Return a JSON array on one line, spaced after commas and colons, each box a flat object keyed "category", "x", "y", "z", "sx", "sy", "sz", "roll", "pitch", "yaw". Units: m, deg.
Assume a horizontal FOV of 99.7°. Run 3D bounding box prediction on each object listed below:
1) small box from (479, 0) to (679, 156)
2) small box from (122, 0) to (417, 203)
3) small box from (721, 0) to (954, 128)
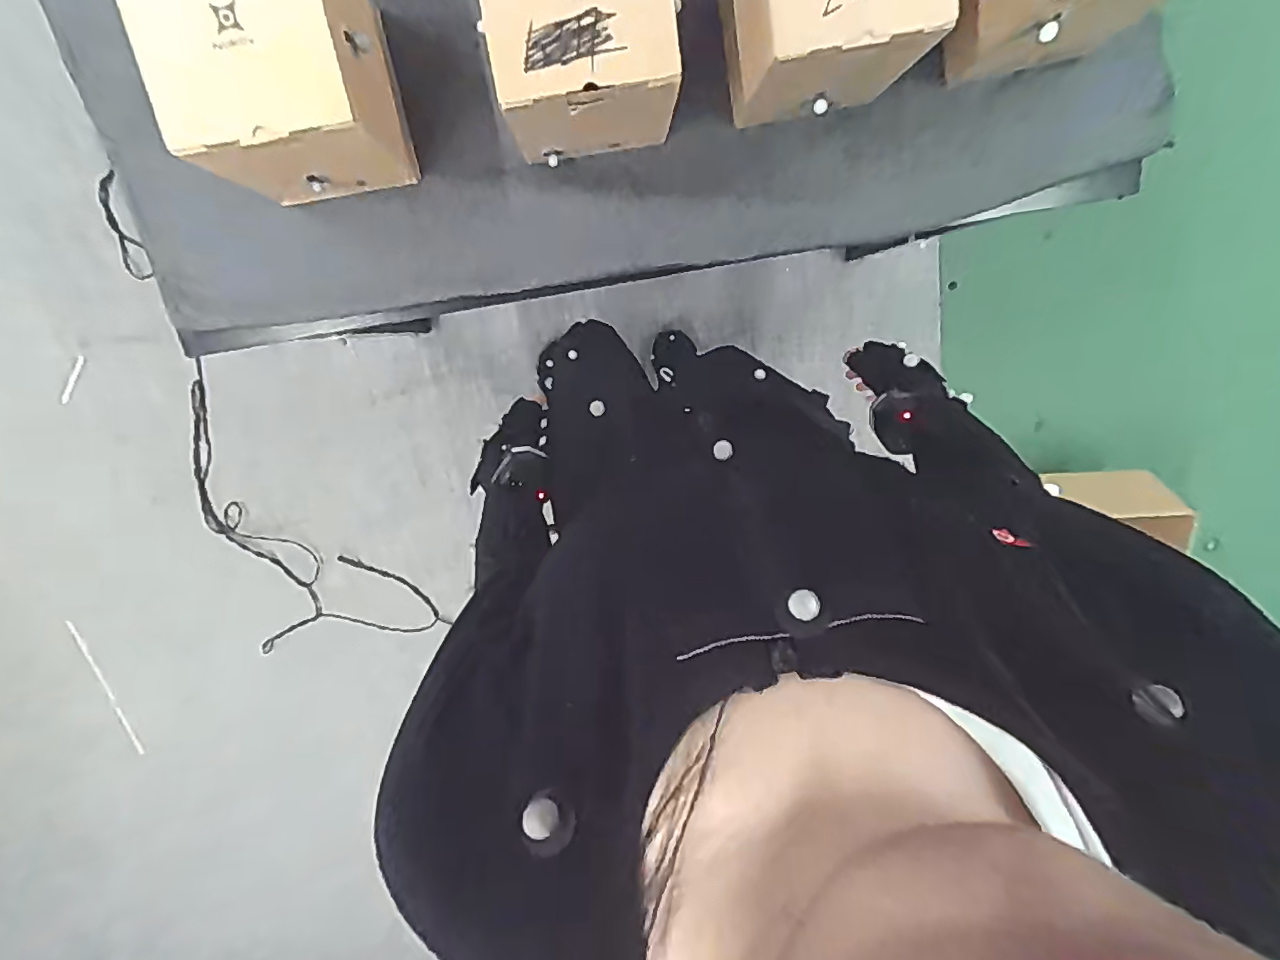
[{"category": "small box", "x": -0.059, "y": -0.442, "z": 0.531, "sx": 0.168, "sy": 0.176, "sz": 0.179, "roll": -9, "pitch": 104, "yaw": -1}, {"category": "small box", "x": -0.344, "y": -0.397, "z": 0.528, "sx": 0.168, "sy": 0.176, "sz": 0.179, "roll": -11, "pitch": 104, "yaw": -1}, {"category": "small box", "x": 0.179, "y": -0.486, "z": 0.532, "sx": 0.168, "sy": 0.176, "sz": 0.179, "roll": -10, "pitch": 105, "yaw": 1}]
